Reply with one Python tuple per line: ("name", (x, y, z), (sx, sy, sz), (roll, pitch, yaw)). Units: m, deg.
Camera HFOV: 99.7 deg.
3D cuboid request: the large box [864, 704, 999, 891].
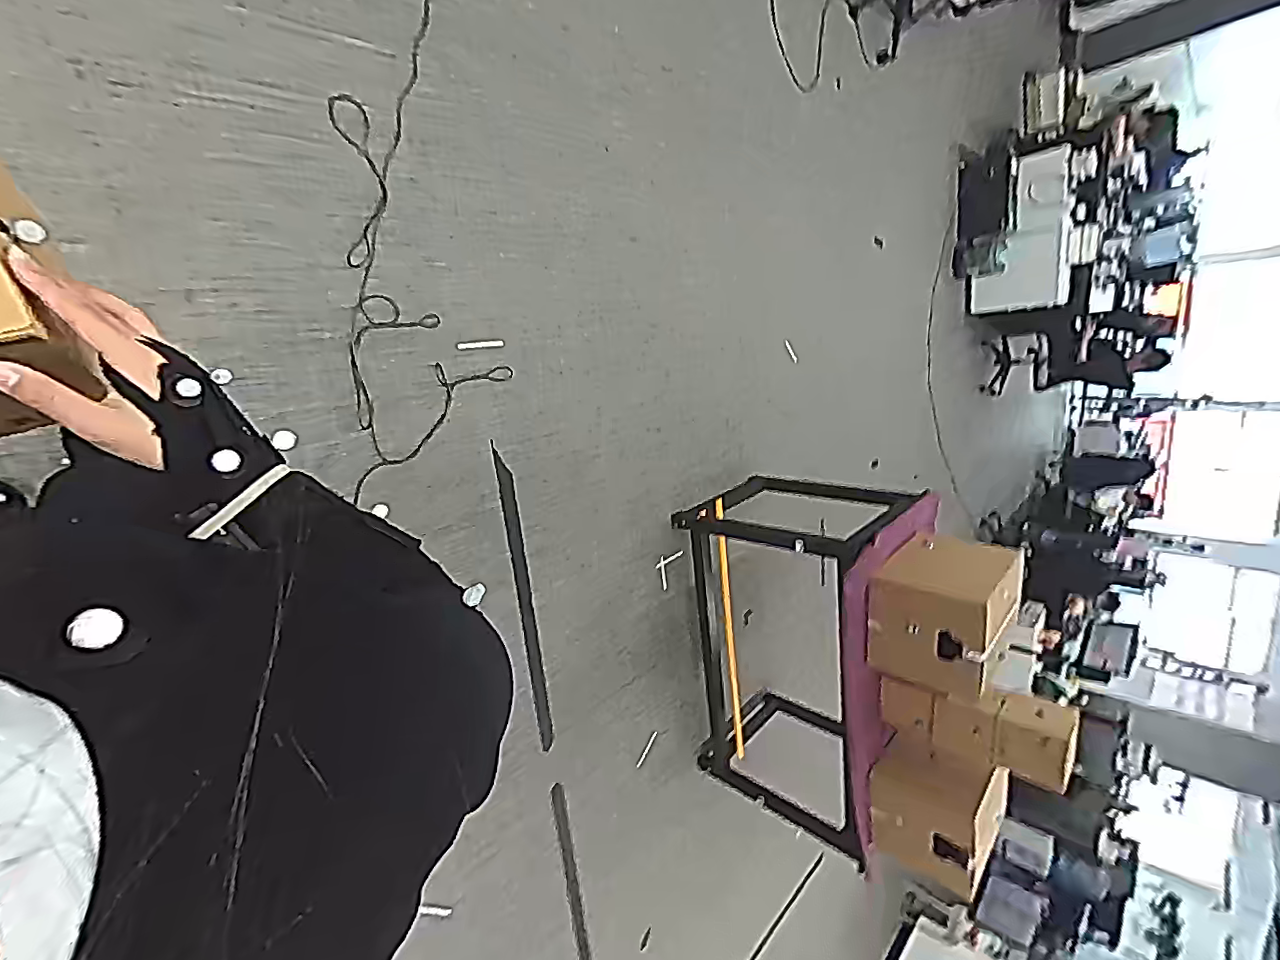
("large box", (1.000, 1.052, 1.851), (0.408, 0.320, 0.320), (-22, 111, -43))
